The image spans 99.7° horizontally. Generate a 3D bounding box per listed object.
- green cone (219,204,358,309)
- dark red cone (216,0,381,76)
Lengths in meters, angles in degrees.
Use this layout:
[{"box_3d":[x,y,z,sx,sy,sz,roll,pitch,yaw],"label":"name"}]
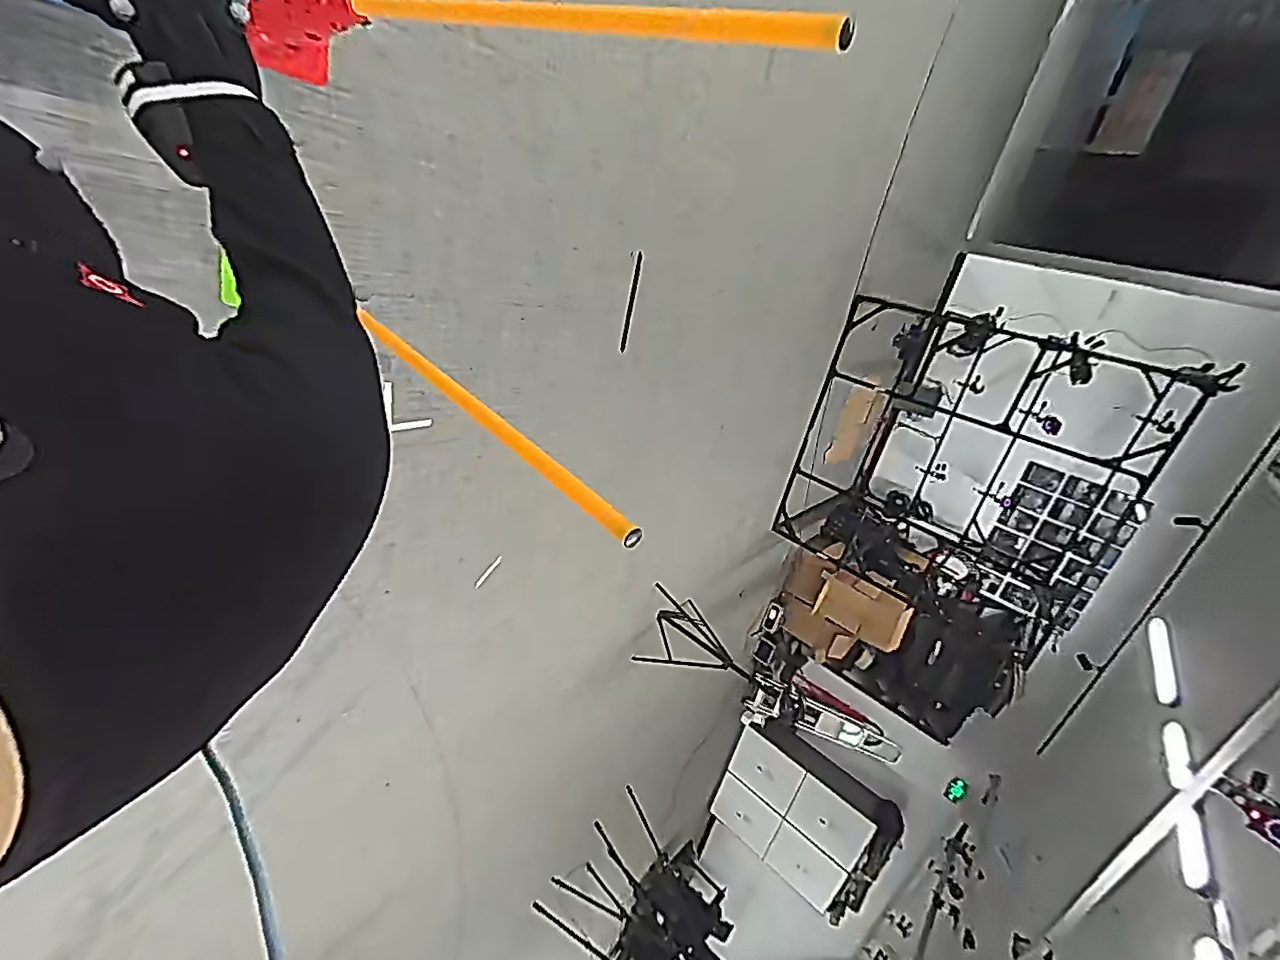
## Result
[{"box_3d":[-0.705,-0.428,1.139,0.202,0.368,0.200,-12,124,-52],"label":"green cone"},{"box_3d":[-0.573,-0.856,0.952,0.201,0.394,0.202,-17,129,-50],"label":"dark red cone"}]
